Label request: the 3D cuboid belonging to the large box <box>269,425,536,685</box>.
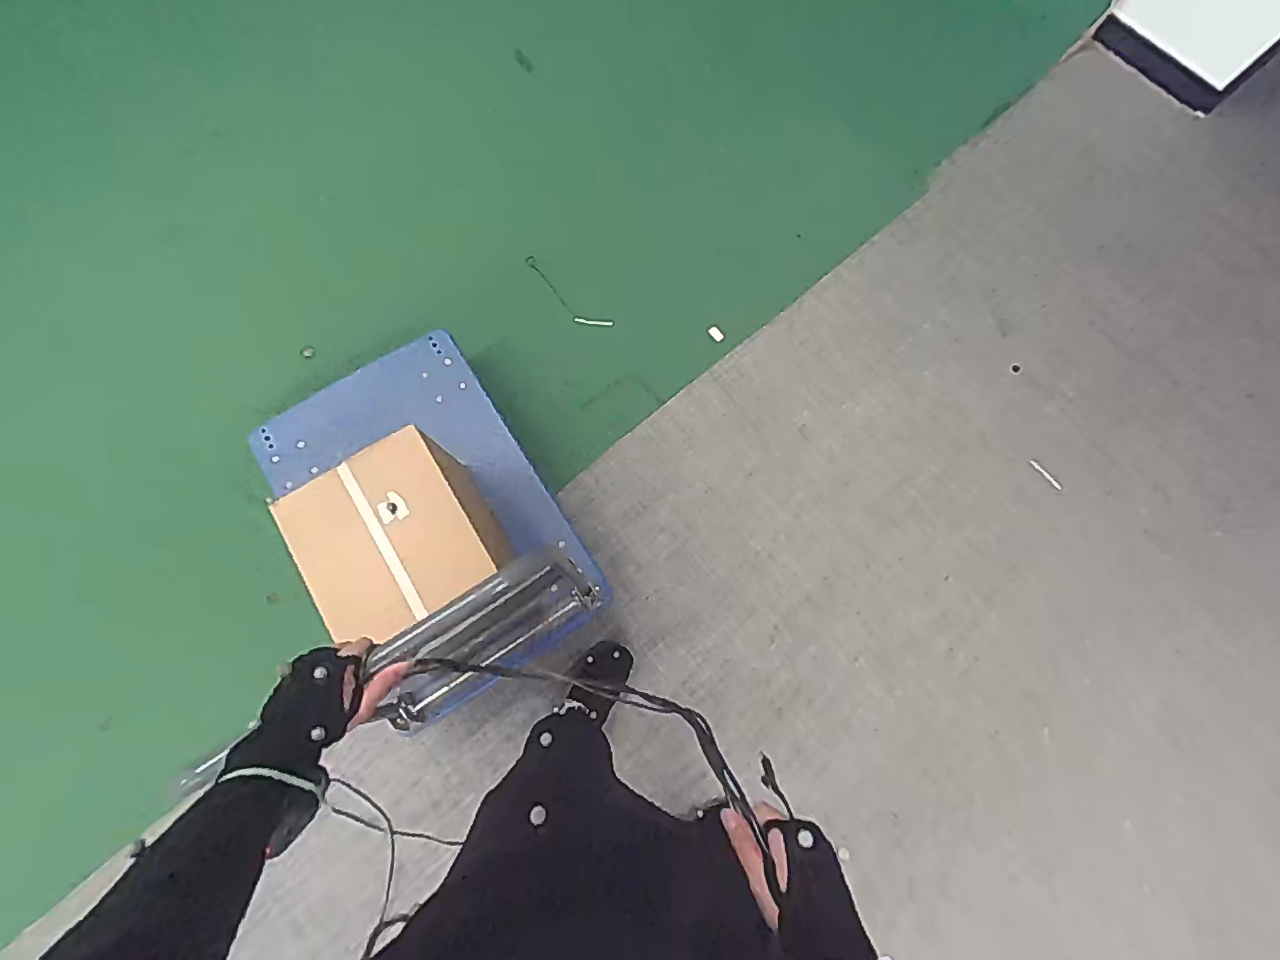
[{"bbox_3d":[-0.477,0.164,1.160,0.320,0.320,0.408,-31,78,-8],"label":"large box"}]
